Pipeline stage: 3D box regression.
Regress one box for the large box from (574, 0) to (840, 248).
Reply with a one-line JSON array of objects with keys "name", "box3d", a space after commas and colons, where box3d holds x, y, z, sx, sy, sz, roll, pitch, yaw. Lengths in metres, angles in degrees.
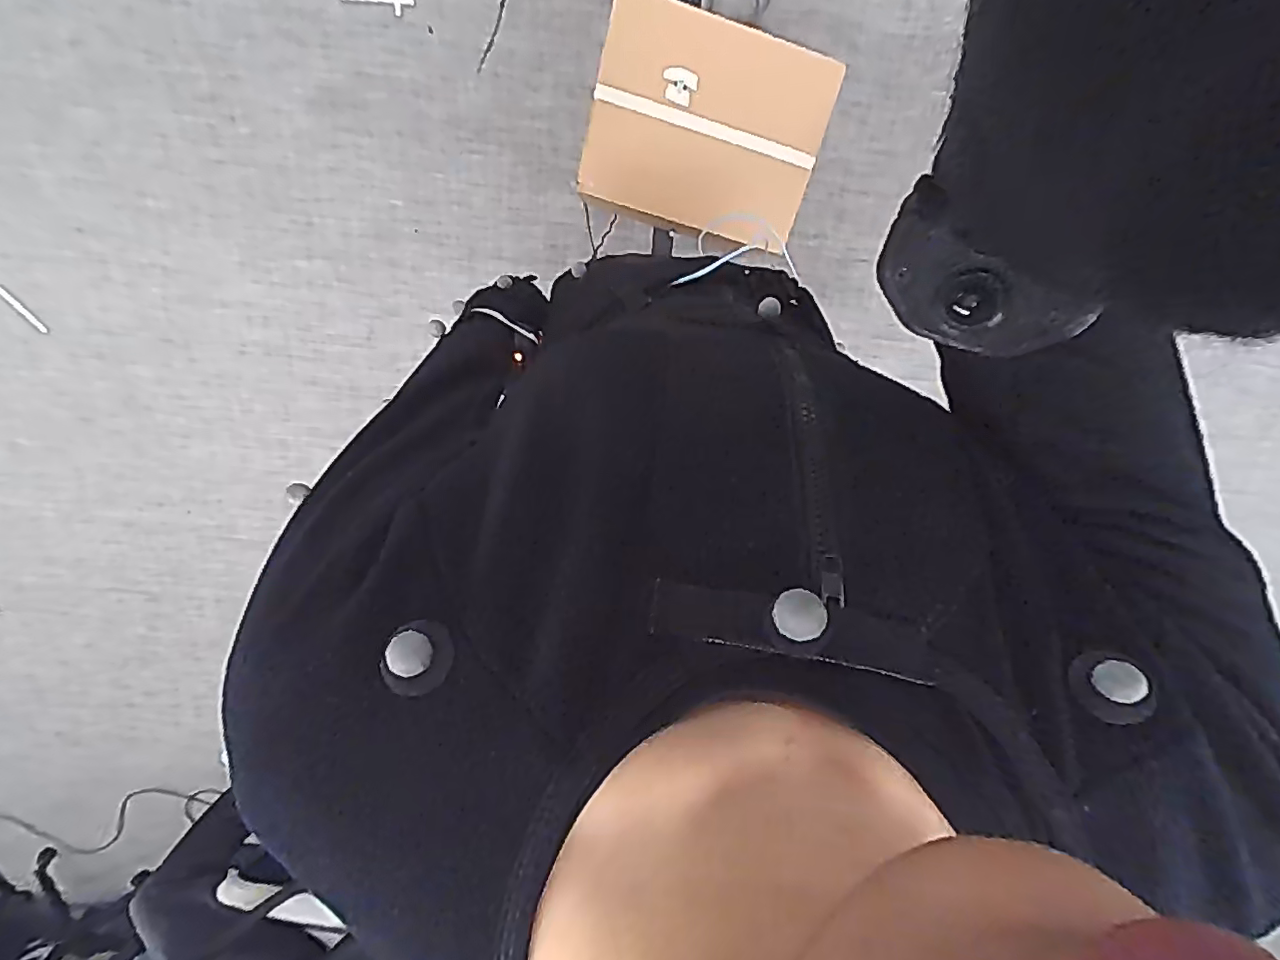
[{"name": "large box", "box3d": [0.110, -0.680, 1.085, 0.408, 0.320, 0.320, 15, 111, -7]}]
